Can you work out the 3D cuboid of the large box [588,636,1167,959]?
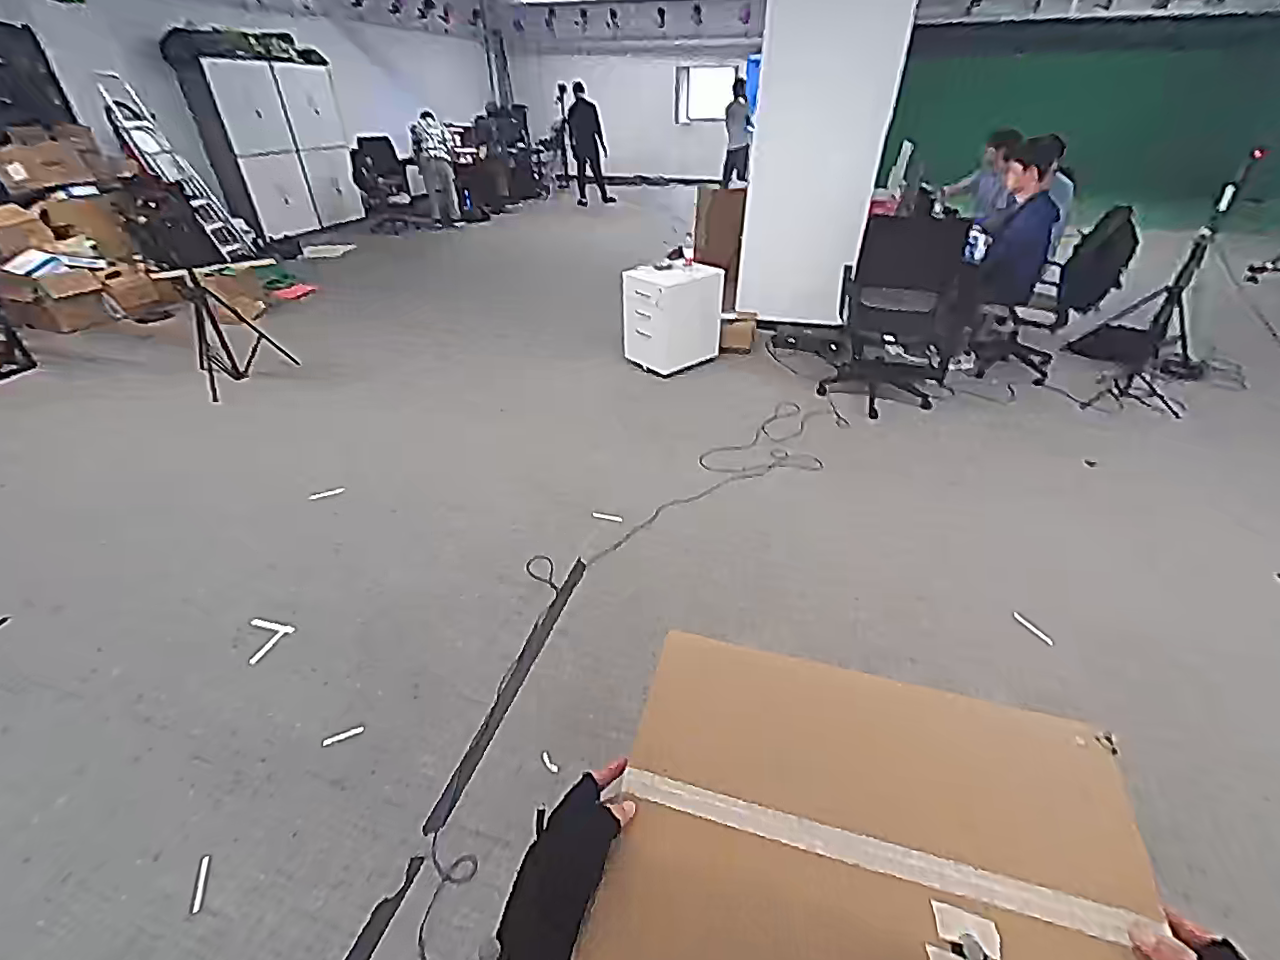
[{"bbox_3d":[0.193,0.409,0.541,0.408,0.320,0.320,10,44,15],"label":"large box"}]
